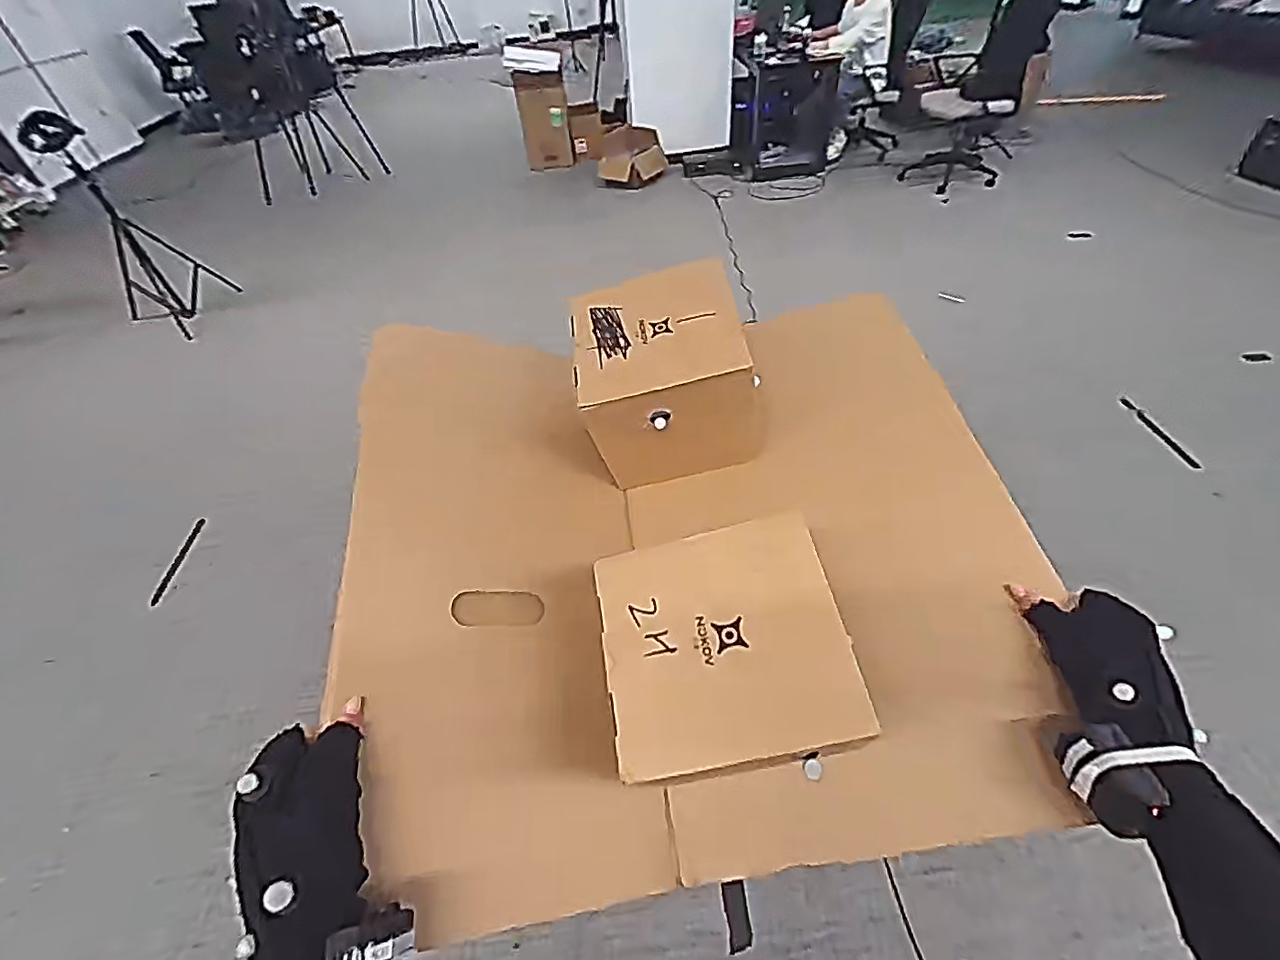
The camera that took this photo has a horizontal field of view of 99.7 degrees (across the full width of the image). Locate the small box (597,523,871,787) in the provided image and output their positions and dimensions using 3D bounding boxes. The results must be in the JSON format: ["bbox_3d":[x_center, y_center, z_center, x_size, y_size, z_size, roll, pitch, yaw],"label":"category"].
[{"bbox_3d":[0.076,0.160,0.470,0.179,0.176,0.168,-15,58,8],"label":"small box"}]

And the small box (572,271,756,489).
[{"bbox_3d":[0.032,-0.106,0.637,0.179,0.176,0.168,-12,58,8],"label":"small box"}]
